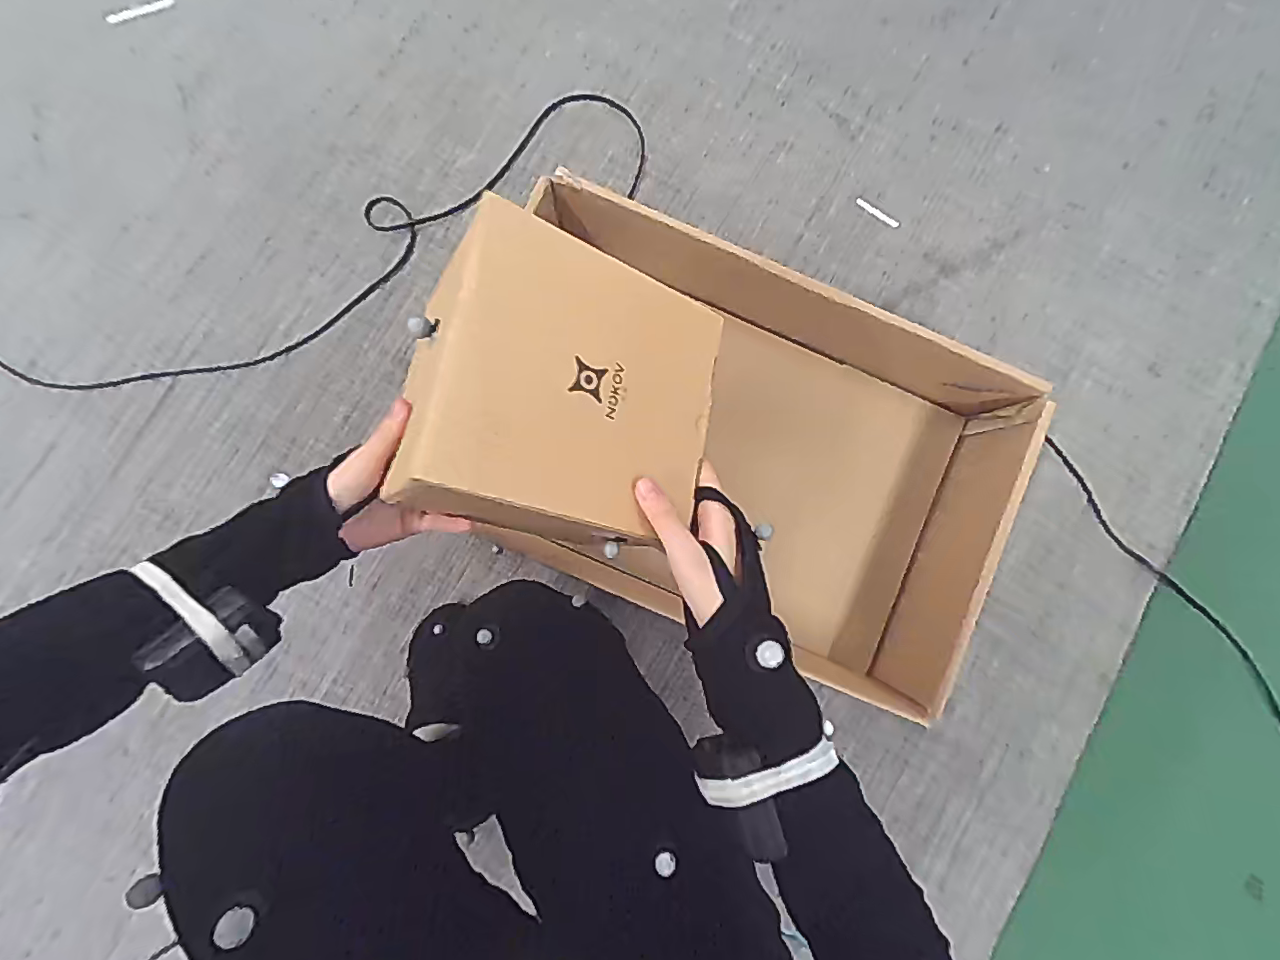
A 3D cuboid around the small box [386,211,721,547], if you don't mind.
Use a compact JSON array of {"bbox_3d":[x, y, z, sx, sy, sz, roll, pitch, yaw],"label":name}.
[{"bbox_3d":[-0.069,-0.047,0.397,0.179,0.176,0.168,17,76,-30],"label":"small box"}]
